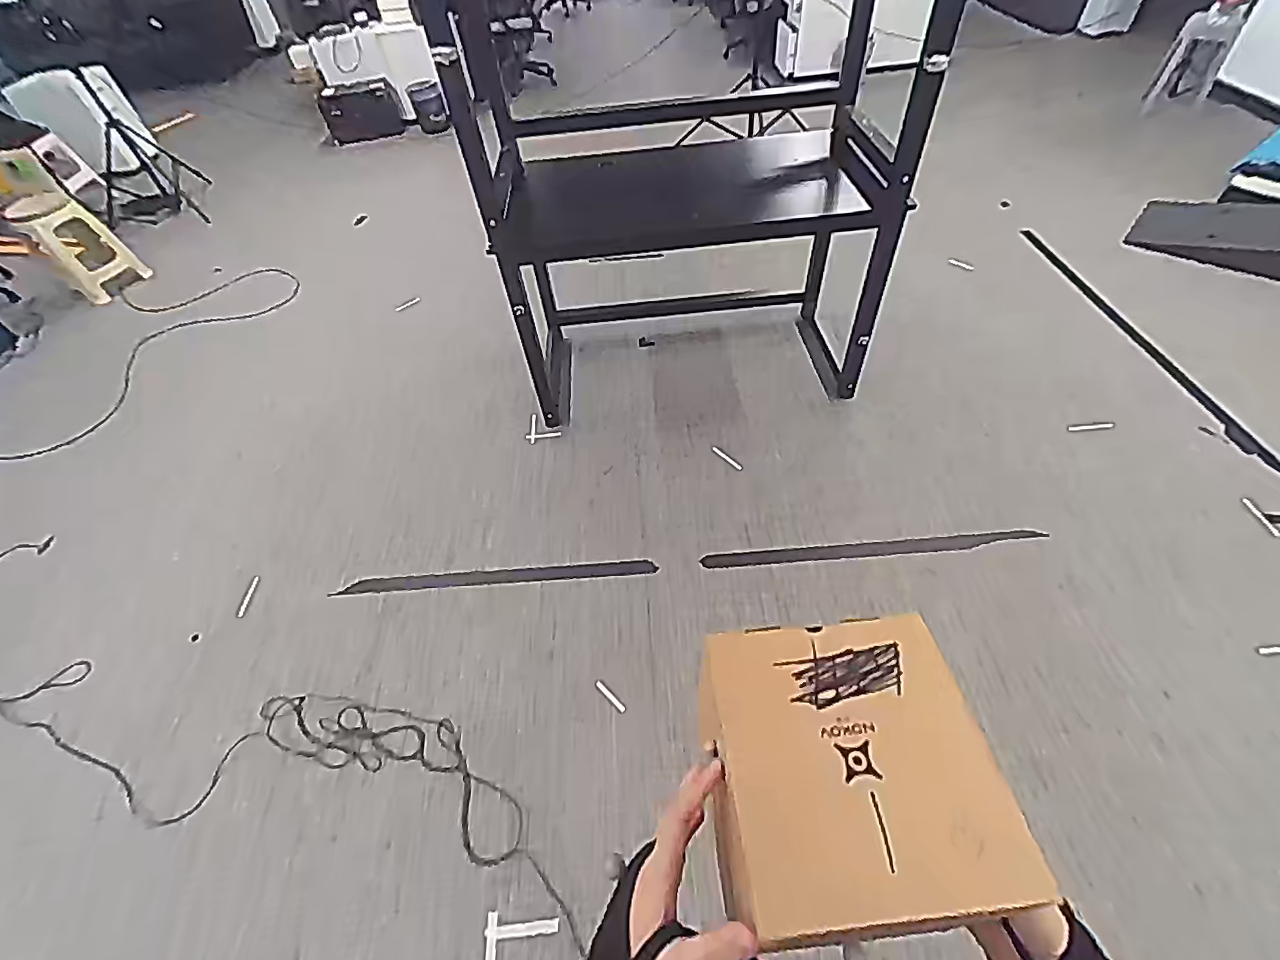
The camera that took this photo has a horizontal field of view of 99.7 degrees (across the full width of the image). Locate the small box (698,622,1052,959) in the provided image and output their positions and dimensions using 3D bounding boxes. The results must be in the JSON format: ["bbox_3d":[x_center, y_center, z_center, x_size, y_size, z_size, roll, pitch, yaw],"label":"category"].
[{"bbox_3d":[0.139,0.231,0.405,0.168,0.176,0.179,-5,46,-2],"label":"small box"}]
